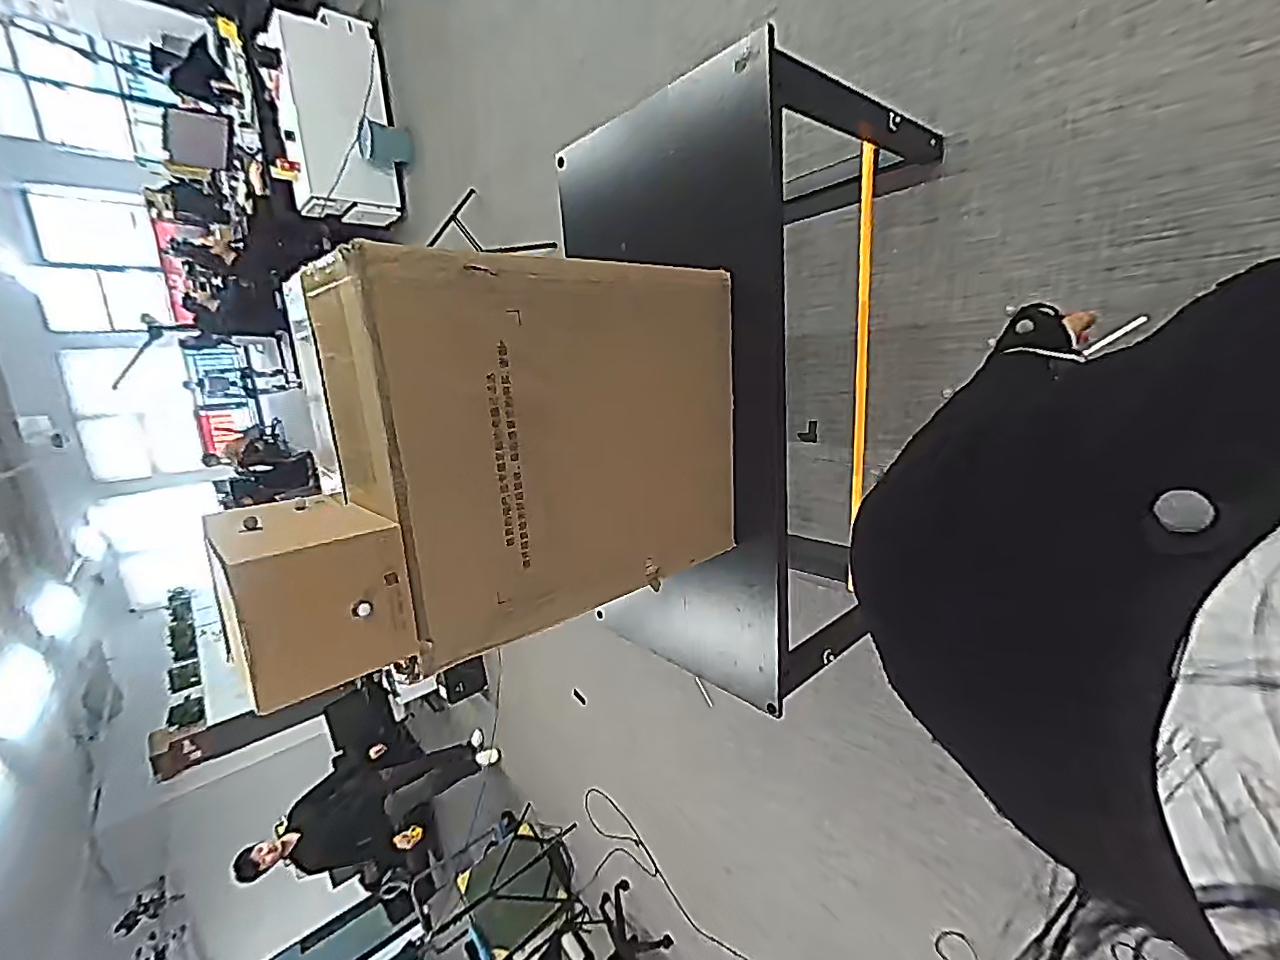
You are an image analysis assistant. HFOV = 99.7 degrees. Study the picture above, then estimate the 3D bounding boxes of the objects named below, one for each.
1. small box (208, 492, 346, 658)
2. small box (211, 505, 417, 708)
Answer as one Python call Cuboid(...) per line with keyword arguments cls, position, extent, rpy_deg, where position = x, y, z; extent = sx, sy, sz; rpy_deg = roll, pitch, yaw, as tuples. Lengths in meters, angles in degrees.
Cuboid(cls="small box", position=(-0.520, 0.128, 0.804), extent=(0.168, 0.176, 0.179), rpy_deg=(13, 109, 50))
Cuboid(cls="small box", position=(-0.390, 0.134, 0.654), extent=(0.179, 0.176, 0.168), rpy_deg=(10, 108, 46))
